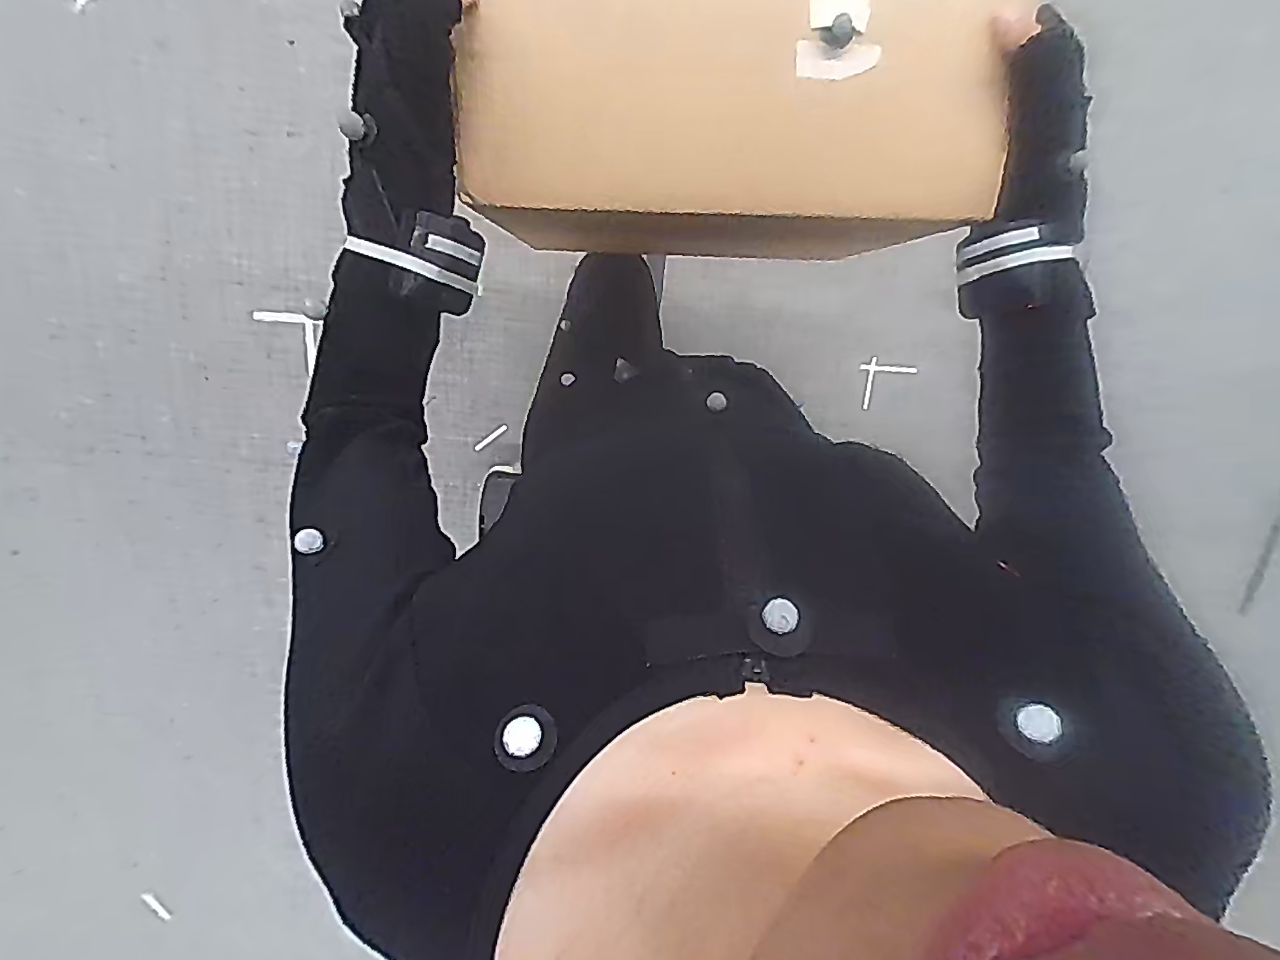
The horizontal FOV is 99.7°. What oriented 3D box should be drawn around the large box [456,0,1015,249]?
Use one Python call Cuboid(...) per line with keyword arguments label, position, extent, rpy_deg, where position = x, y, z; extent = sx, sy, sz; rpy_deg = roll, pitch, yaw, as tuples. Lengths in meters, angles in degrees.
Cuboid(label="large box", position=(0.064, -0.406, 0.515), extent=(0.408, 0.320, 0.320), rpy_deg=(1, 107, -2))
